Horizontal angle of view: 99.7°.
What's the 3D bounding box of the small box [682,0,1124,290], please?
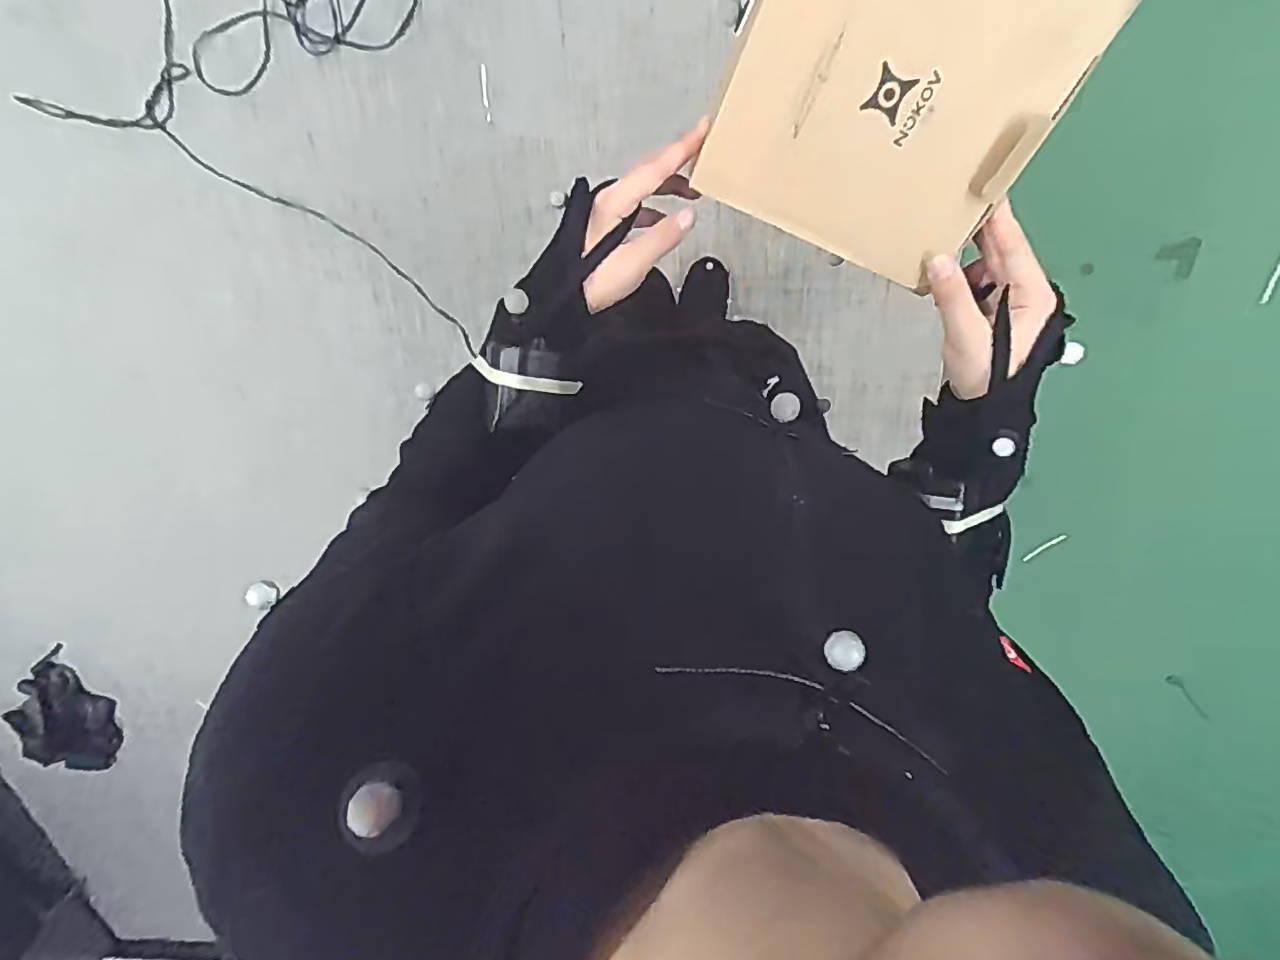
[{"bbox_3d":[0.140,-0.257,0.361,0.179,0.176,0.168,20,124,-7],"label":"small box"}]
